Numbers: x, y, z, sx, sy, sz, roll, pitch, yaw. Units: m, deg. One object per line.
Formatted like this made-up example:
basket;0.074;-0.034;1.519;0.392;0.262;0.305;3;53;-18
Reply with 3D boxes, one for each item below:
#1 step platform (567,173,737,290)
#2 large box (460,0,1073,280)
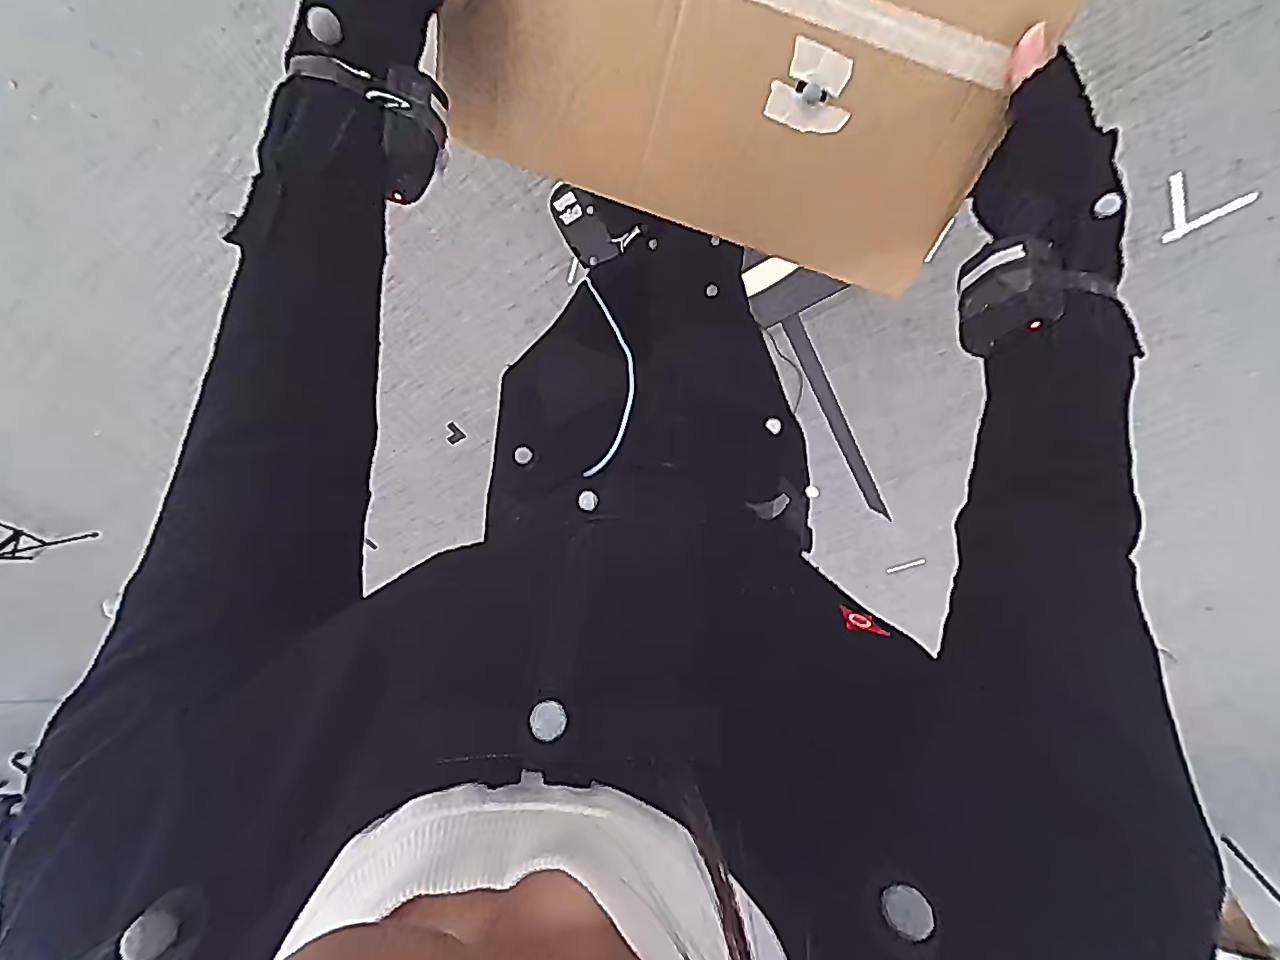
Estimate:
step platform;0.175;-0.708;1.163;0.684;0.204;0.286;-25;124;24
large box;0.100;-0.435;0.471;0.408;0.320;0.320;19;133;-4
